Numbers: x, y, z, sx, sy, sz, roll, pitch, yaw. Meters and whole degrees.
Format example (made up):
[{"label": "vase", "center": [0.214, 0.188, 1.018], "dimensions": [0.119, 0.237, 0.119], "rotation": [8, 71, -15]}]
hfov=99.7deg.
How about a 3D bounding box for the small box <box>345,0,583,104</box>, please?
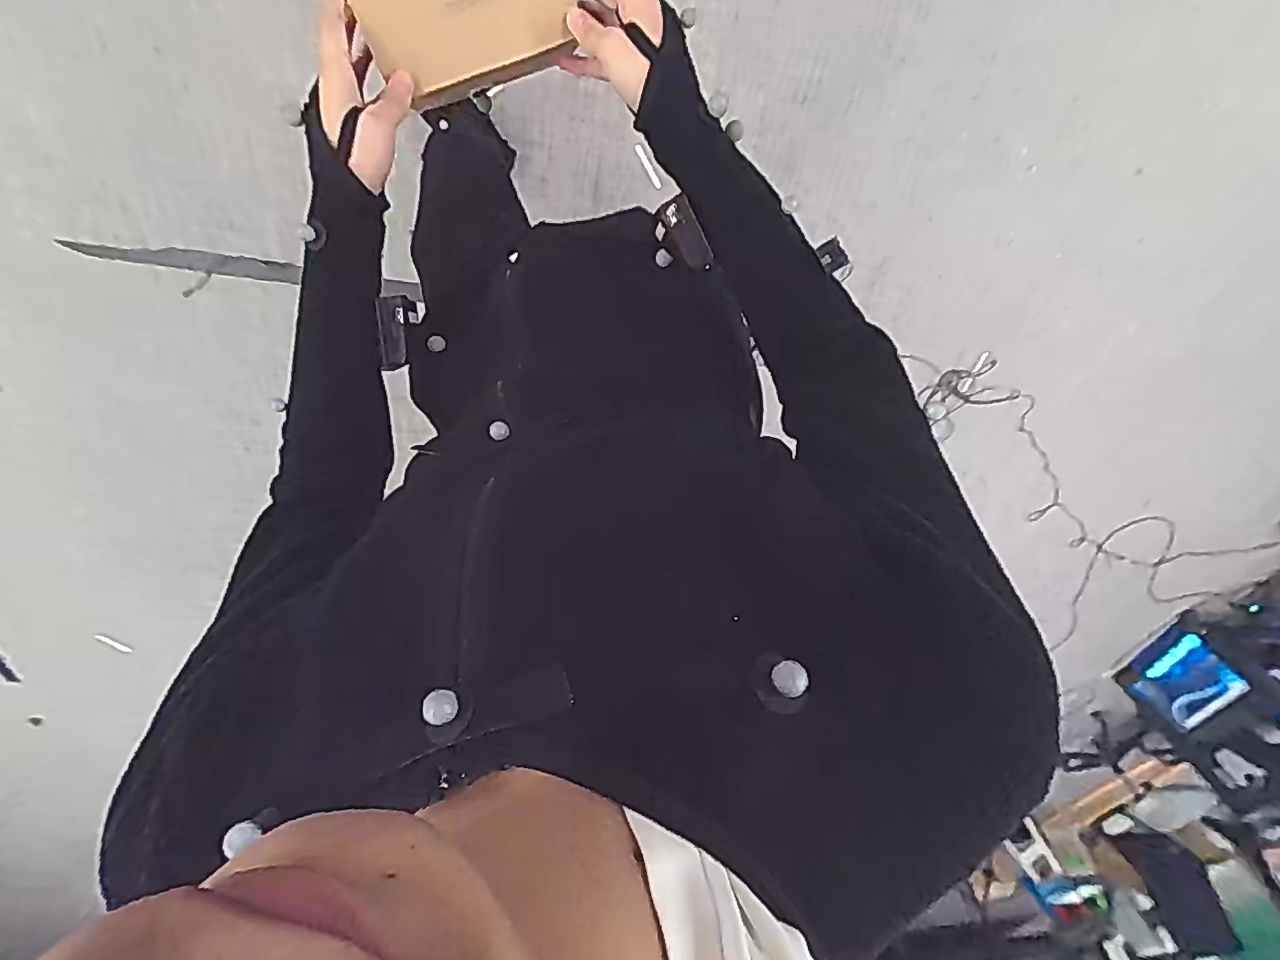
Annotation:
[{"label": "small box", "center": [-0.158, -0.433, 0.435], "dimensions": [0.168, 0.176, 0.179], "rotation": [-20, 123, 0]}]
